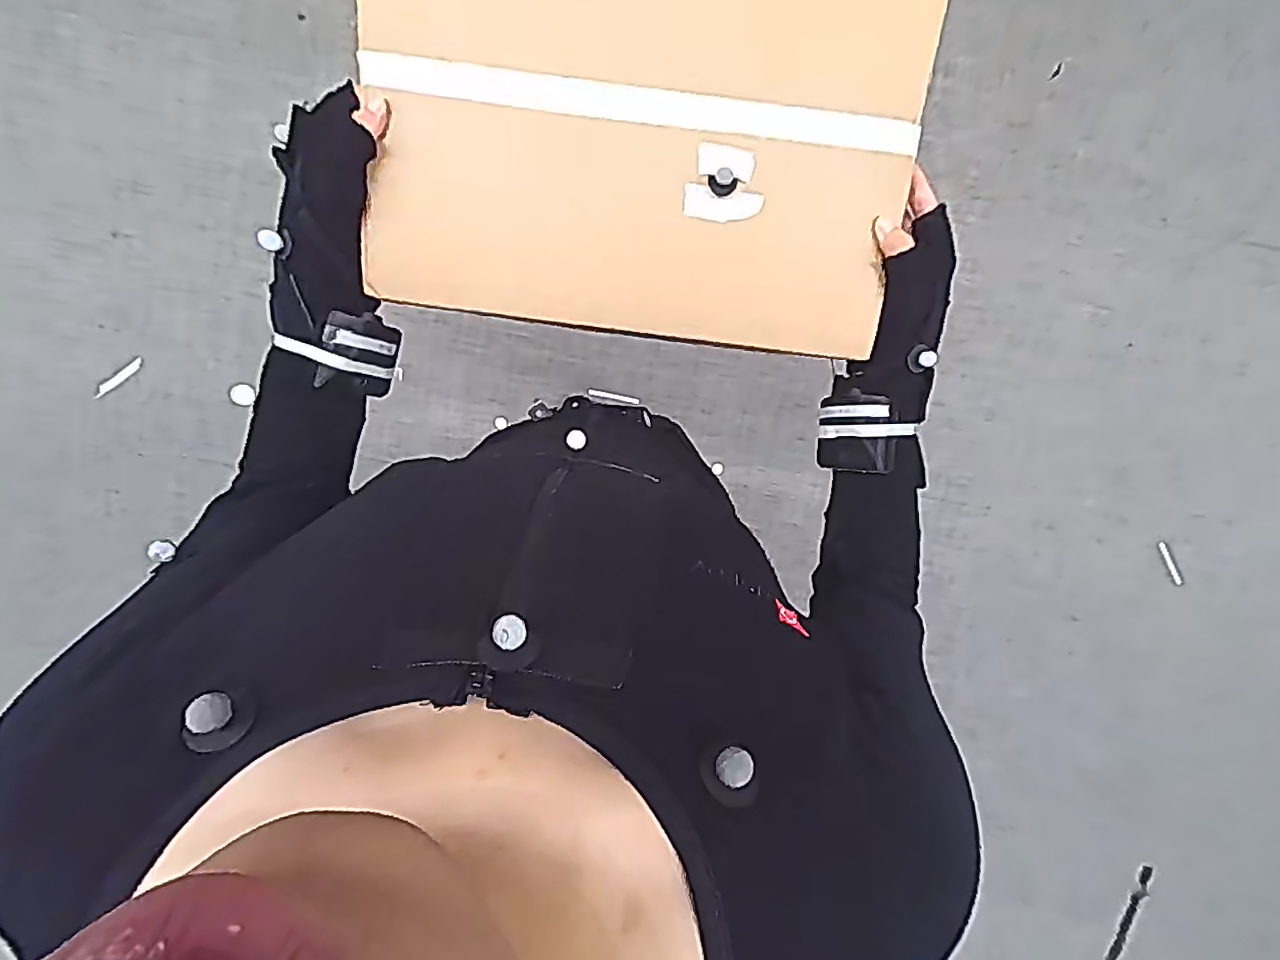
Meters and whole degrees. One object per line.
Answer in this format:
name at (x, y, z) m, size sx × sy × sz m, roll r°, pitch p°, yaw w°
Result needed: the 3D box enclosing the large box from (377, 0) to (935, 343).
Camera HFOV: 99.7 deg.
large box at (0.003, -0.317, 0.546) m, size 0.408 × 0.320 × 0.320 m, roll 7°, pitch 105°, yaw -1°
